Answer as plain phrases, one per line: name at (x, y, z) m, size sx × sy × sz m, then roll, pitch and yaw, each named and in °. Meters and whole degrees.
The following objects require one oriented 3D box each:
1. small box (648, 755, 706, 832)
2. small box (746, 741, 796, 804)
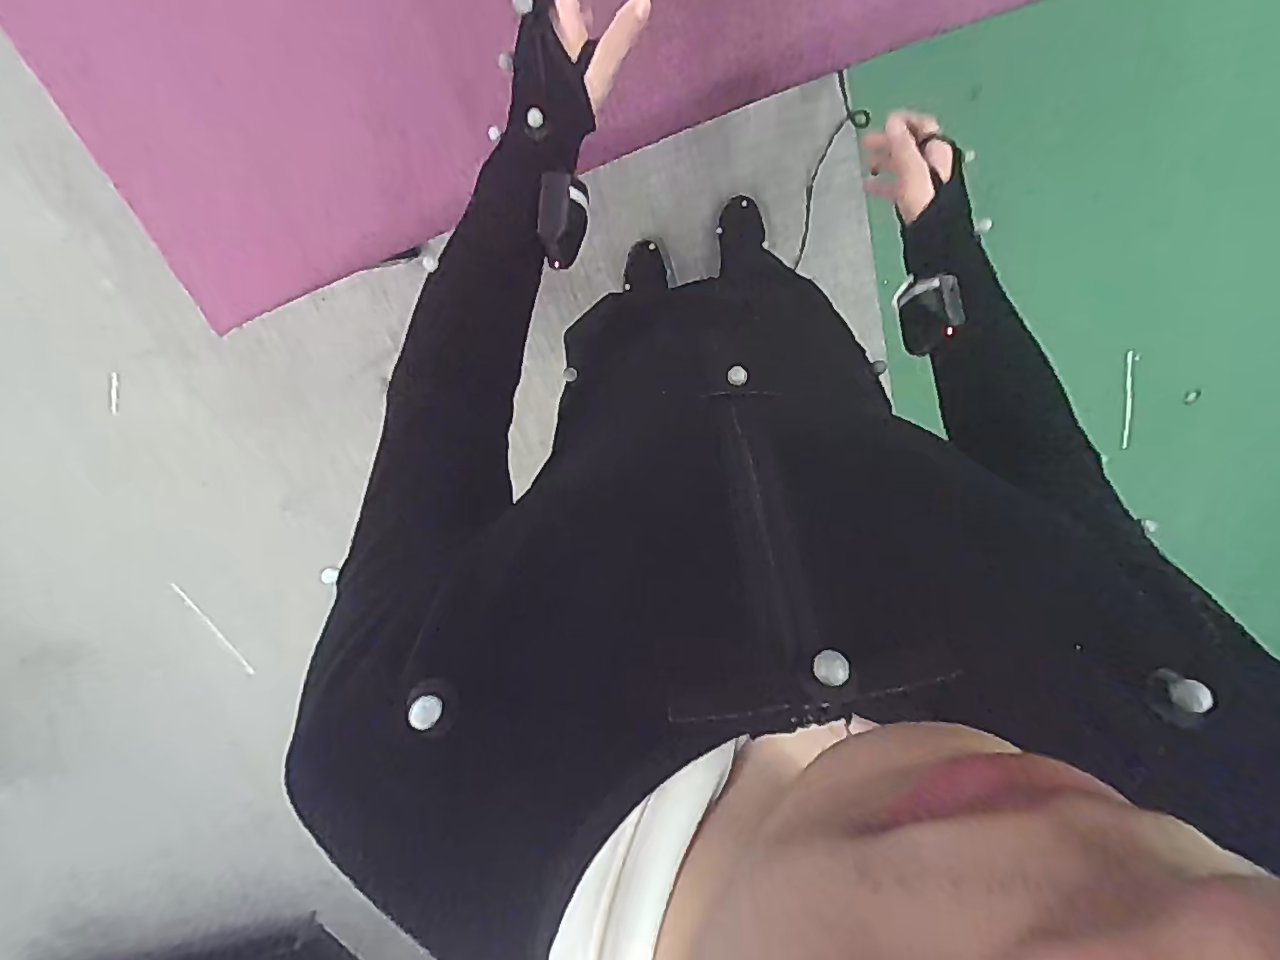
small box at (0.135, 1.164, 2.011) m, size 0.179 × 0.176 × 0.168 m, roll -17°, pitch 113°, yaw 7°
small box at (0.531, 1.191, 2.198) m, size 0.179 × 0.176 × 0.168 m, roll -9°, pitch 116°, yaw 5°
